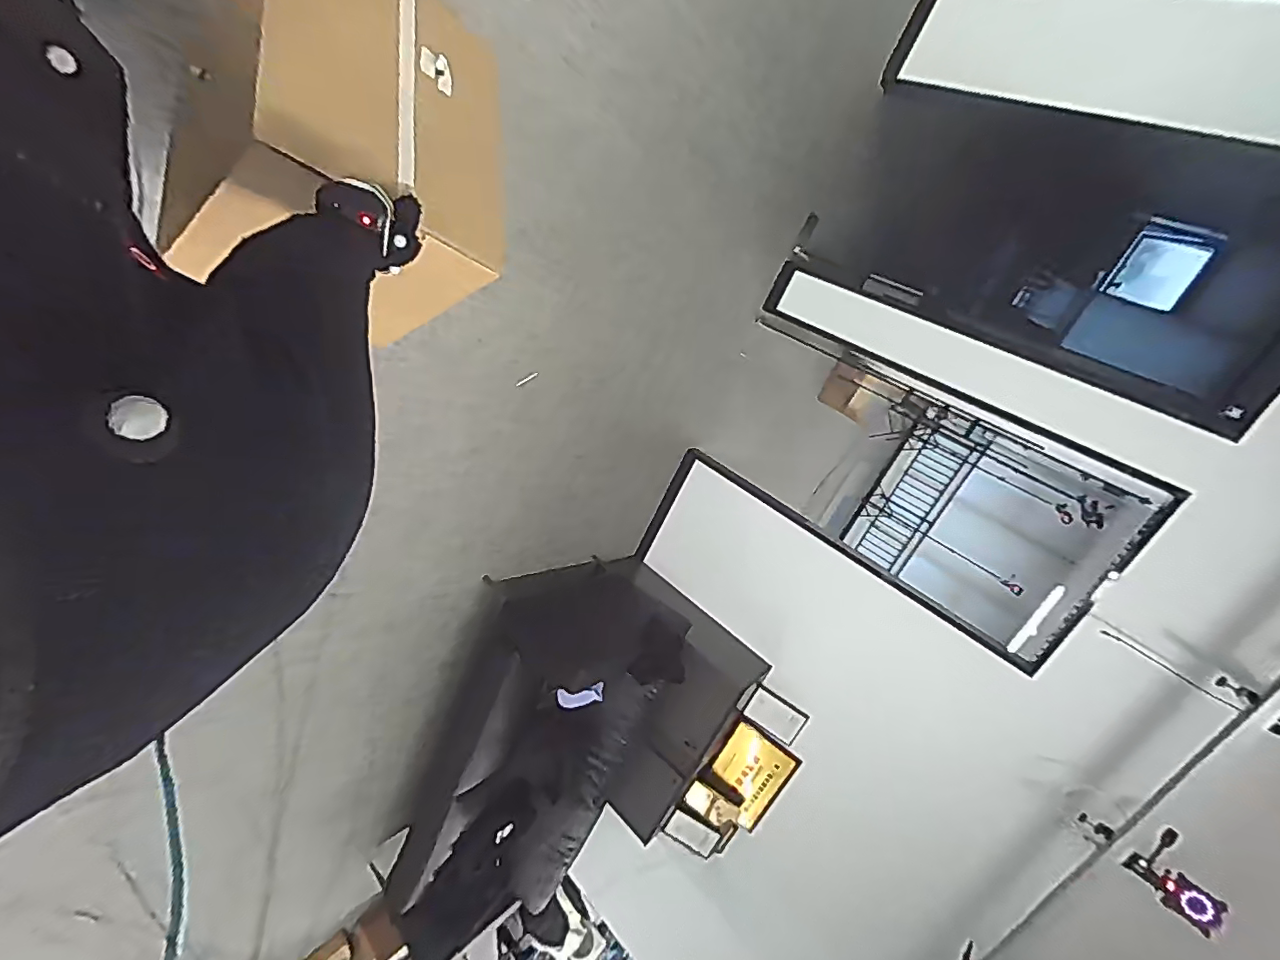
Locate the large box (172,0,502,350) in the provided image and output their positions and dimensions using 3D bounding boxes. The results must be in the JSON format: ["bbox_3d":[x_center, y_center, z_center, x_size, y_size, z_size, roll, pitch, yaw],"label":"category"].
[{"bbox_3d":[-0.433,-0.462,0.787,0.320,0.320,0.408,13,67,-54],"label":"large box"}]
